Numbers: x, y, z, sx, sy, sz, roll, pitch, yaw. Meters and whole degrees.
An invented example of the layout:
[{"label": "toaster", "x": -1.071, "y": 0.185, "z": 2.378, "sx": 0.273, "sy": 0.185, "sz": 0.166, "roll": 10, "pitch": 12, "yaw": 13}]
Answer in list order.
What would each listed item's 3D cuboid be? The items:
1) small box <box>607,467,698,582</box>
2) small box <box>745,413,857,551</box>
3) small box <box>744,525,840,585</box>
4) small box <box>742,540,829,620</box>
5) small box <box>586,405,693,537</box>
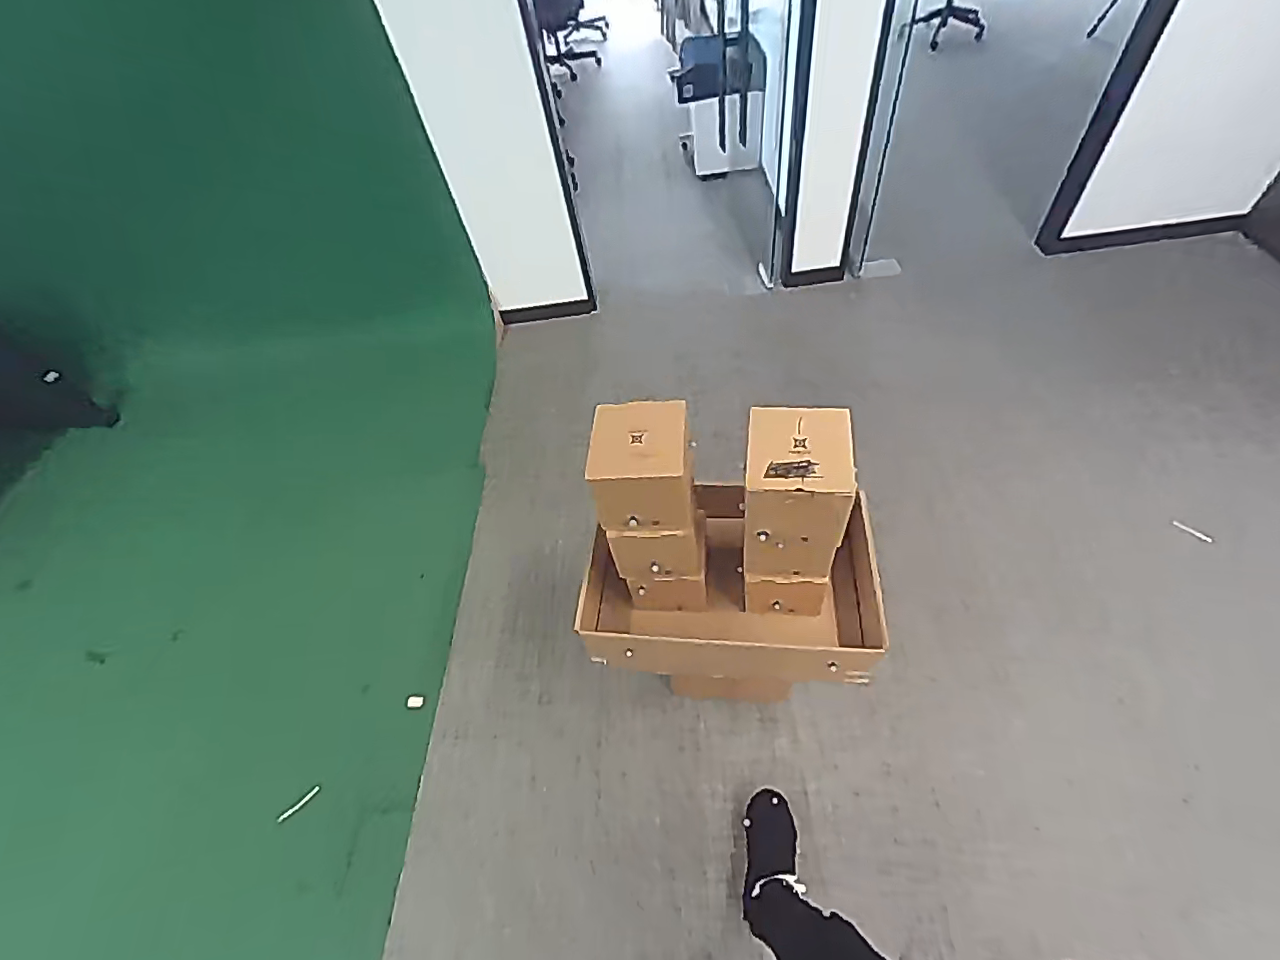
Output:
[{"label": "small box", "x": 0.032, "y": 0.091, "z": 1.103, "sx": 0.168, "sy": 0.176, "sz": 0.179, "roll": -2, "pitch": 53, "yaw": 7}, {"label": "small box", "x": 0.269, "y": 0.007, "z": 0.927, "sx": 0.168, "sy": 0.176, "sz": 0.179, "roll": 4, "pitch": 55, "yaw": 11}, {"label": "small box", "x": 0.292, "y": 0.089, "z": 1.070, "sx": 0.168, "sy": 0.176, "sz": 0.179, "roll": 2, "pitch": 54, "yaw": 11}, {"label": "small box", "x": 0.313, "y": 0.192, "z": 1.196, "sx": 0.168, "sy": 0.176, "sz": 0.179, "roll": 0, "pitch": 55, "yaw": 9}, {"label": "small box", "x": 0.008, "y": -0.014, "z": 0.980, "sx": 0.168, "sy": 0.176, "sz": 0.179, "roll": -1, "pitch": 53, "yaw": 9}]
